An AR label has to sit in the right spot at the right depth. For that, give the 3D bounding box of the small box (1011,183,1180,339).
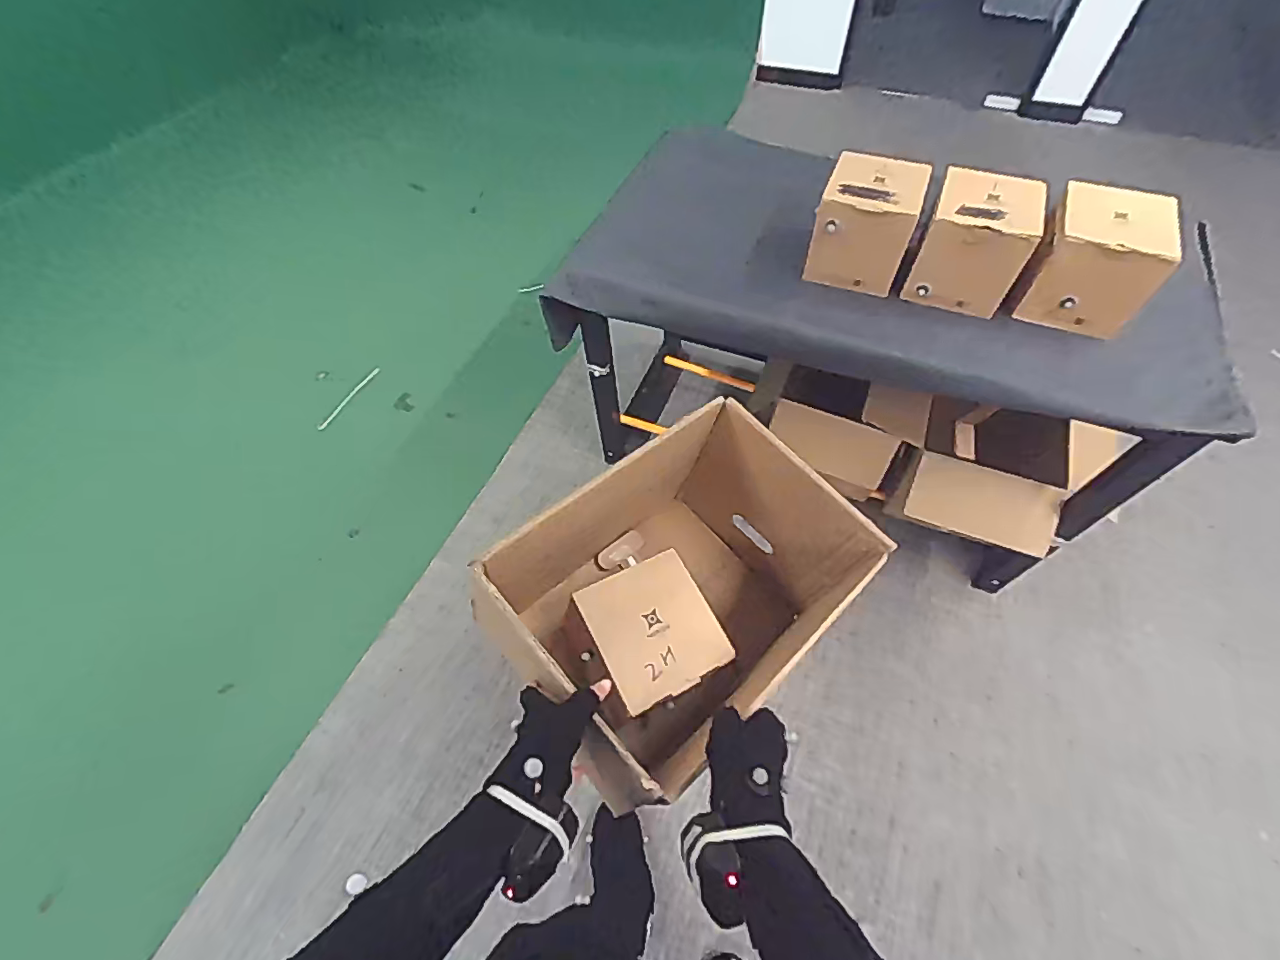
[{"bbox_3d":[0.788,-0.383,0.953,0.168,0.176,0.179,20,61,15],"label":"small box"}]
